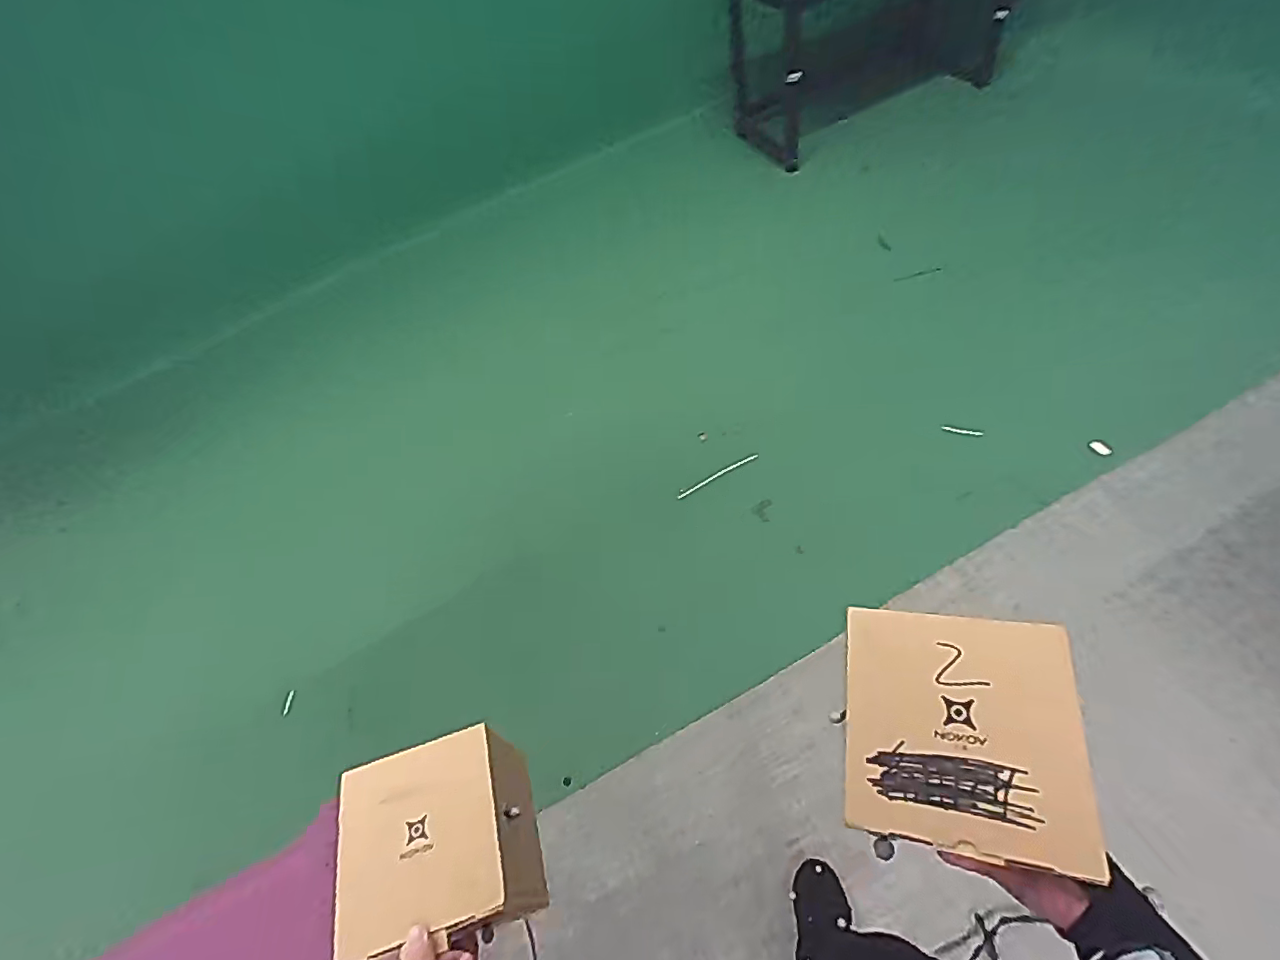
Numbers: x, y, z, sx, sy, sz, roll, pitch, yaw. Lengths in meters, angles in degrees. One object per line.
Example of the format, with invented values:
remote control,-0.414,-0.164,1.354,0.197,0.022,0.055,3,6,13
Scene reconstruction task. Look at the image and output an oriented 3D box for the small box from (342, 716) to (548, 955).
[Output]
small box,-0.215,0.403,0.624,0.168,0.176,0.179,-17,52,-5
